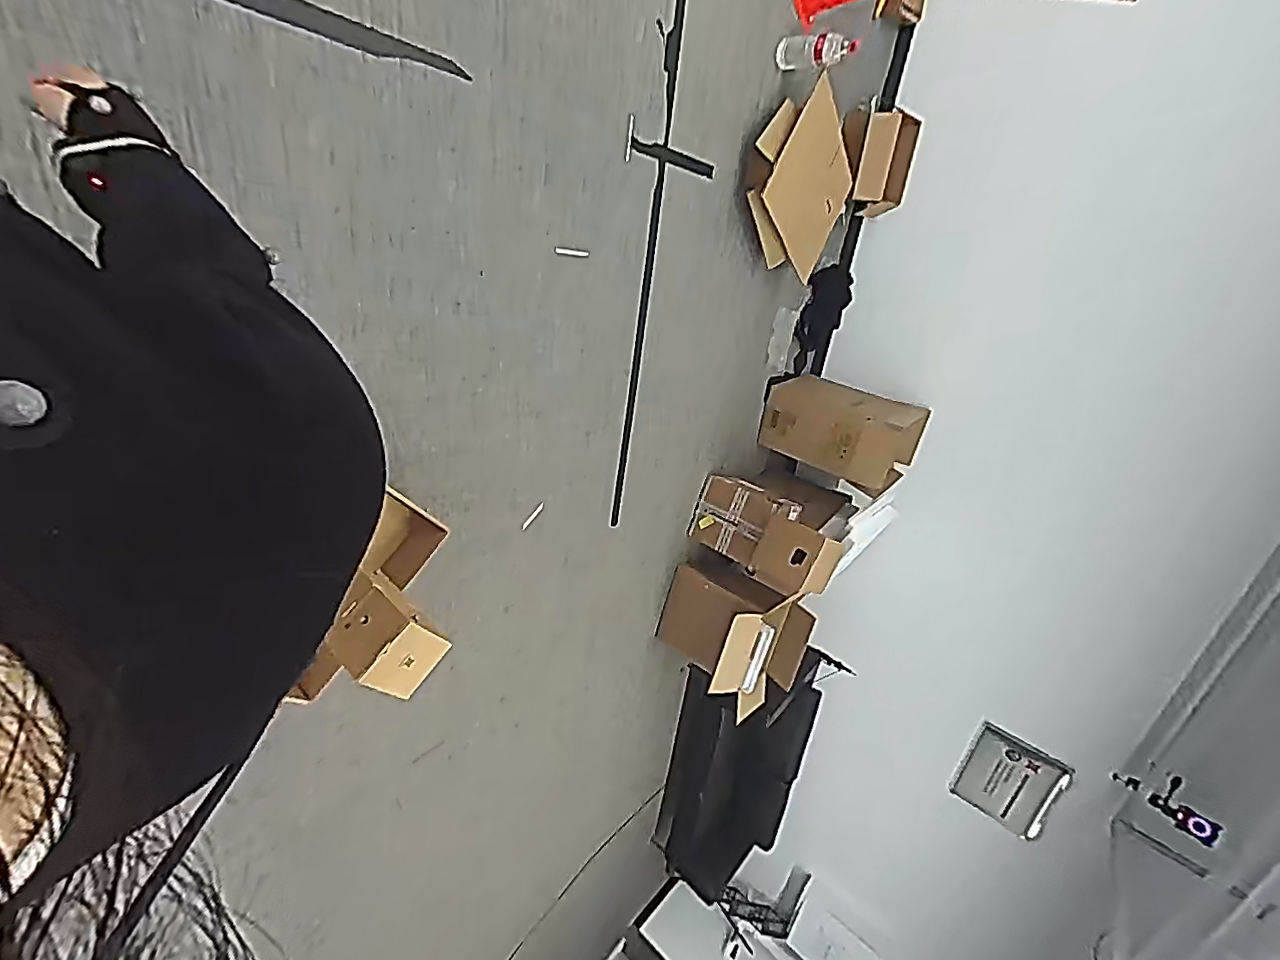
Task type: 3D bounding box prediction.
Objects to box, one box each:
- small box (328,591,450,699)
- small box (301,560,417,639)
[{"bbox_3d":[-0.610,0.398,1.318,0.168,0.176,0.179,-52,145,-17],"label":"small box"},{"bbox_3d":[-0.731,0.329,1.403,0.168,0.176,0.179,-51,144,-18],"label":"small box"}]
